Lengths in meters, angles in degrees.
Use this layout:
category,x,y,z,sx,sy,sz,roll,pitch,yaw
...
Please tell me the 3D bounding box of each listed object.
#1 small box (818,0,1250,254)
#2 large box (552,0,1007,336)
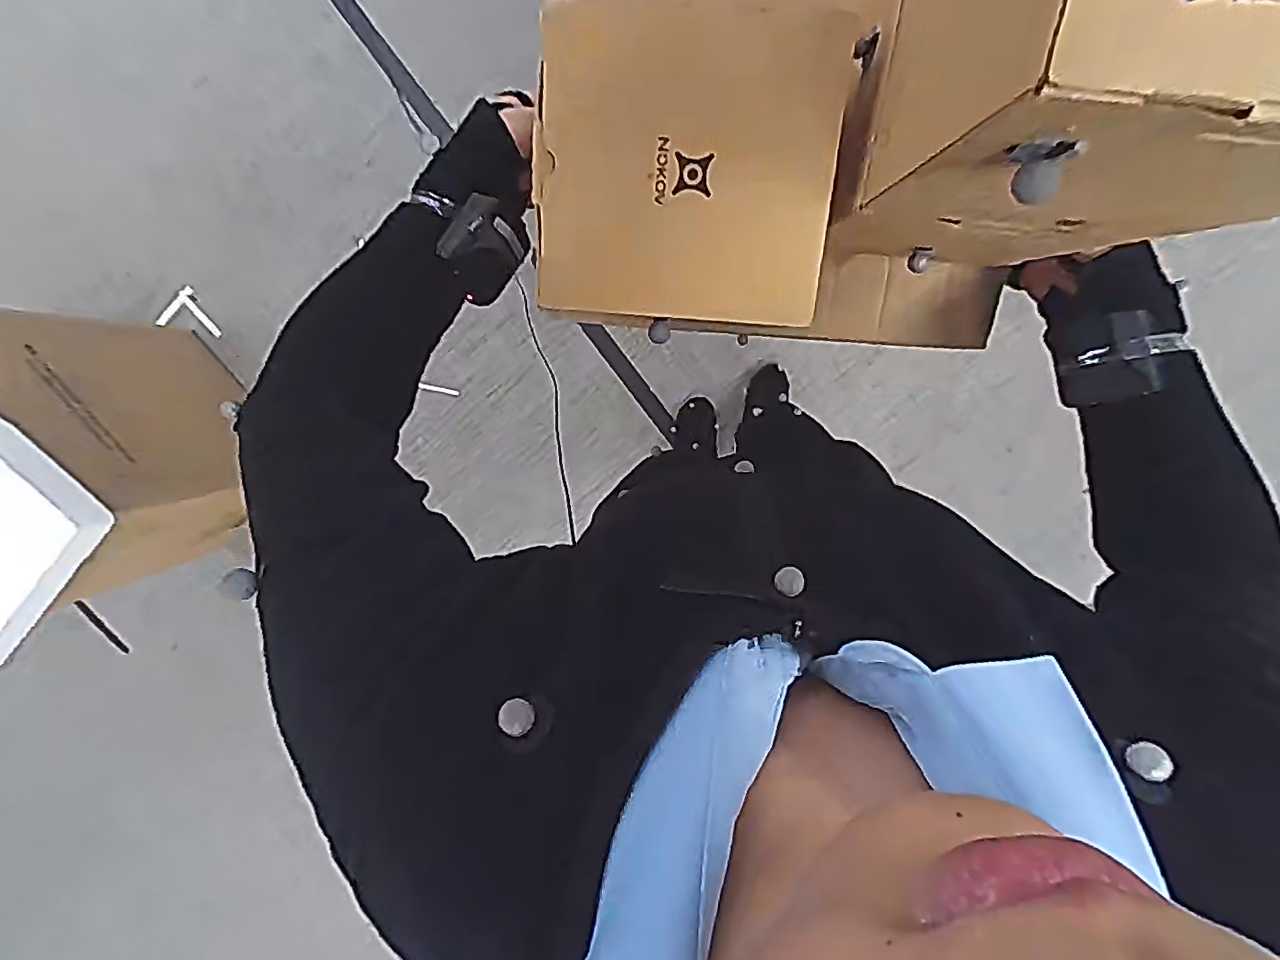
category,x,y,z,sx,sy,sz,roll,pitch,yaw
small box,0.226,-0.258,0.352,0.168,0.176,0.179,7,106,4
large box,0.135,-0.330,0.595,0.408,0.320,0.320,4,106,3
